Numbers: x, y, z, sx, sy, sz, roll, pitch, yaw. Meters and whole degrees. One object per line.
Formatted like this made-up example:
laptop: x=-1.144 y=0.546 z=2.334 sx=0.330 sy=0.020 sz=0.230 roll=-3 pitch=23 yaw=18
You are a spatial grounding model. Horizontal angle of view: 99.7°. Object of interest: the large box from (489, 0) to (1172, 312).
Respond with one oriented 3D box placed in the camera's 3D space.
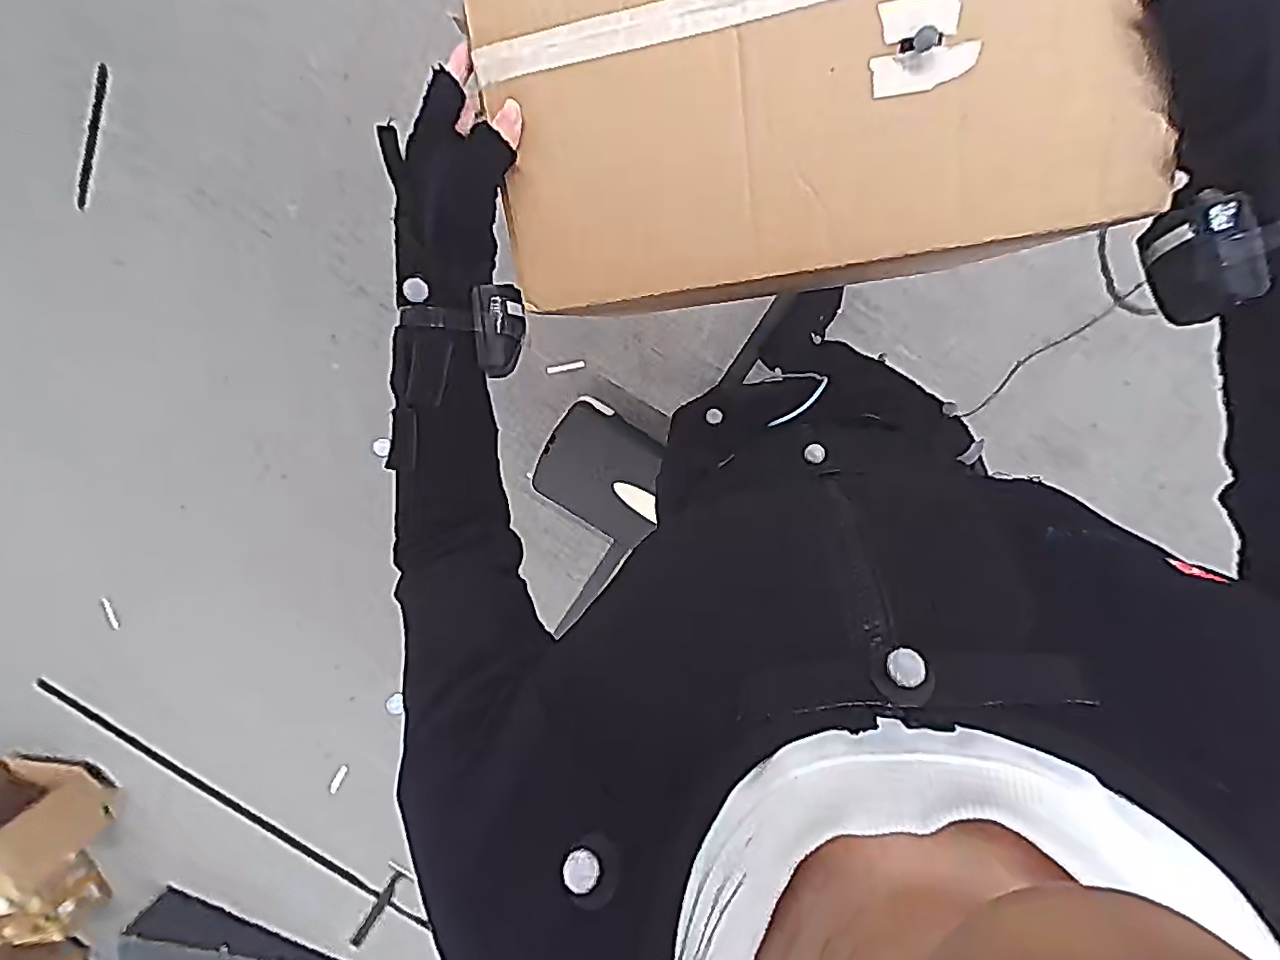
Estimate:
large box: x=0.119 y=-0.340 z=0.470 sx=0.408 sy=0.320 sz=0.320 roll=-6 pitch=105 yaw=10
